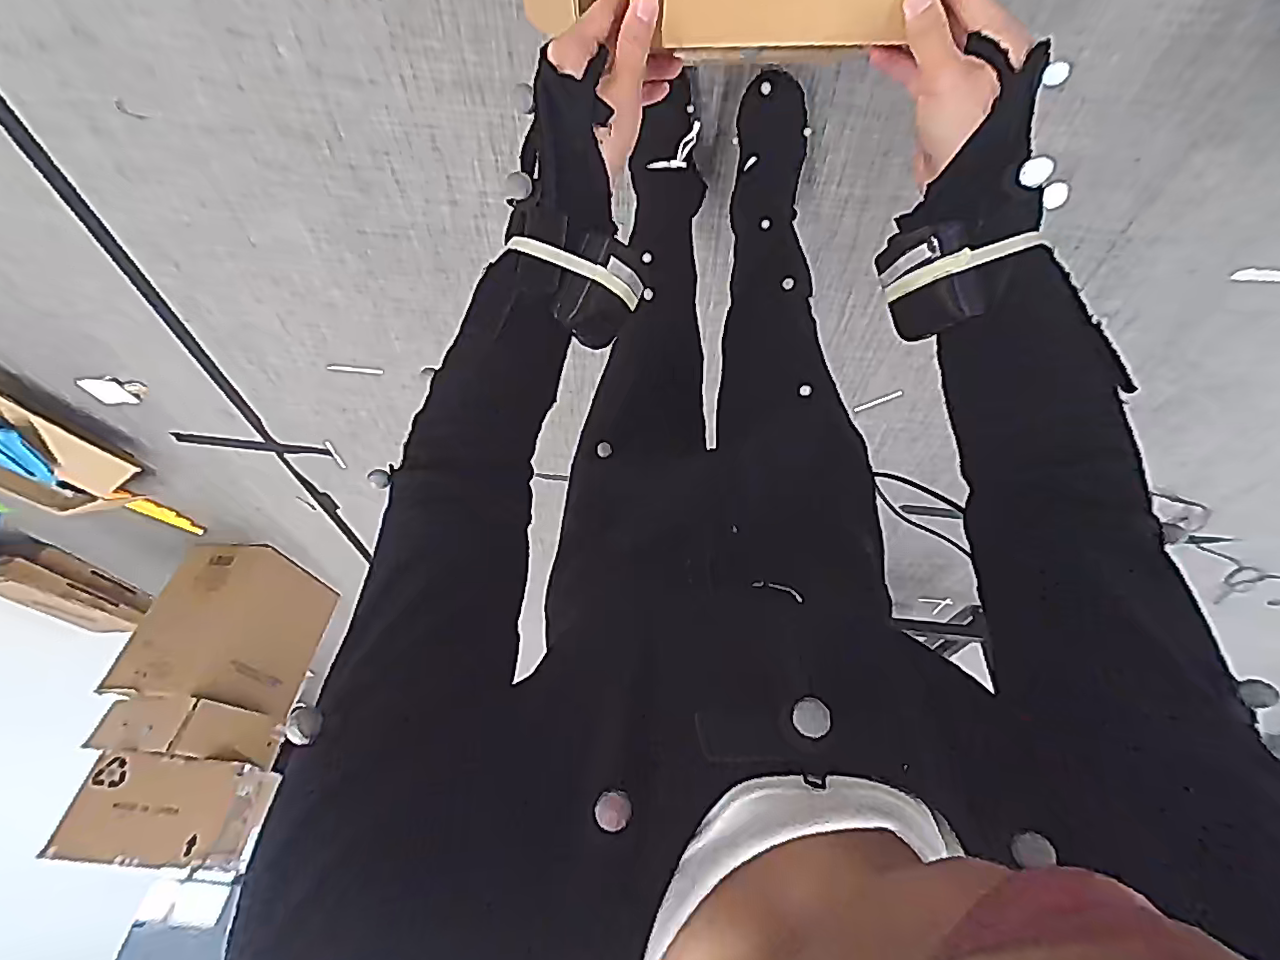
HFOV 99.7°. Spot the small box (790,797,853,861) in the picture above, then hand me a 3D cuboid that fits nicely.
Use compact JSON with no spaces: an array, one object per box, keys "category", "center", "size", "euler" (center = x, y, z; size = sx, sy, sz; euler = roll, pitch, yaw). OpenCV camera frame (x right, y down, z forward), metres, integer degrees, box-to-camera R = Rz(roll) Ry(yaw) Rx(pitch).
[{"category":"small box","center":[0.633,1.235,1.911],"size":[0.168,0.176,0.179],"euler":[6,144,1]}]

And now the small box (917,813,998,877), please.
[{"category":"small box","center":[1.108,1.286,1.905],"size":[0.168,0.176,0.179],"euler":[9,143,-3]}]

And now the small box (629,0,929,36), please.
[{"category":"small box","center":[0.082,-0.381,0.303],"size":[0.179,0.176,0.168],"euler":[1,146,2]}]
